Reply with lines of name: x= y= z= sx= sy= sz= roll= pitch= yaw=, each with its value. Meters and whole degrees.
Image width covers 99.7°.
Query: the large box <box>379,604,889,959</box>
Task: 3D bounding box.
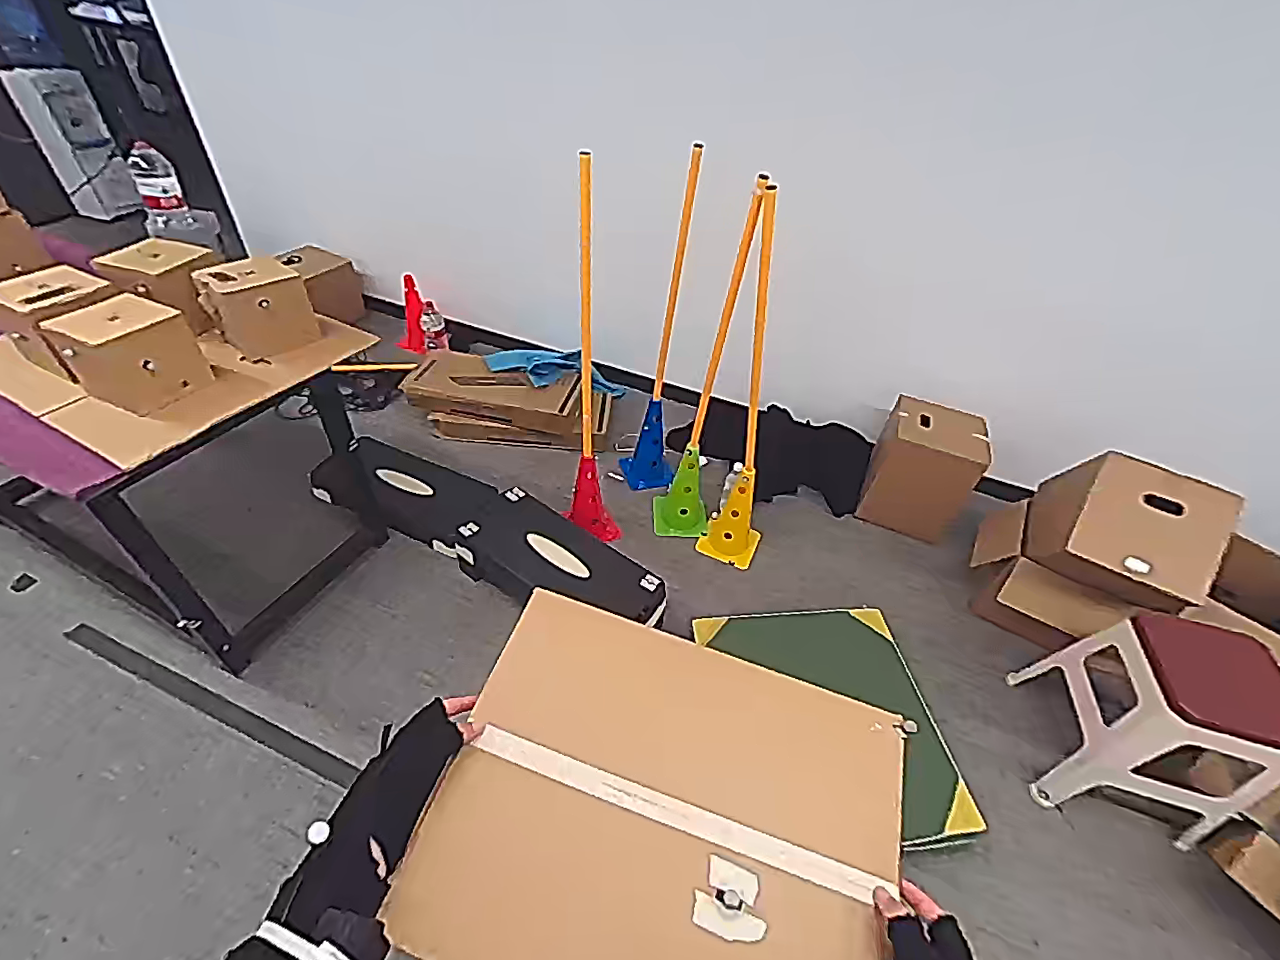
large box: x=0.009 y=0.398 z=0.611 sx=0.408 sy=0.320 sz=0.320 roll=18 pitch=53 yaw=8
